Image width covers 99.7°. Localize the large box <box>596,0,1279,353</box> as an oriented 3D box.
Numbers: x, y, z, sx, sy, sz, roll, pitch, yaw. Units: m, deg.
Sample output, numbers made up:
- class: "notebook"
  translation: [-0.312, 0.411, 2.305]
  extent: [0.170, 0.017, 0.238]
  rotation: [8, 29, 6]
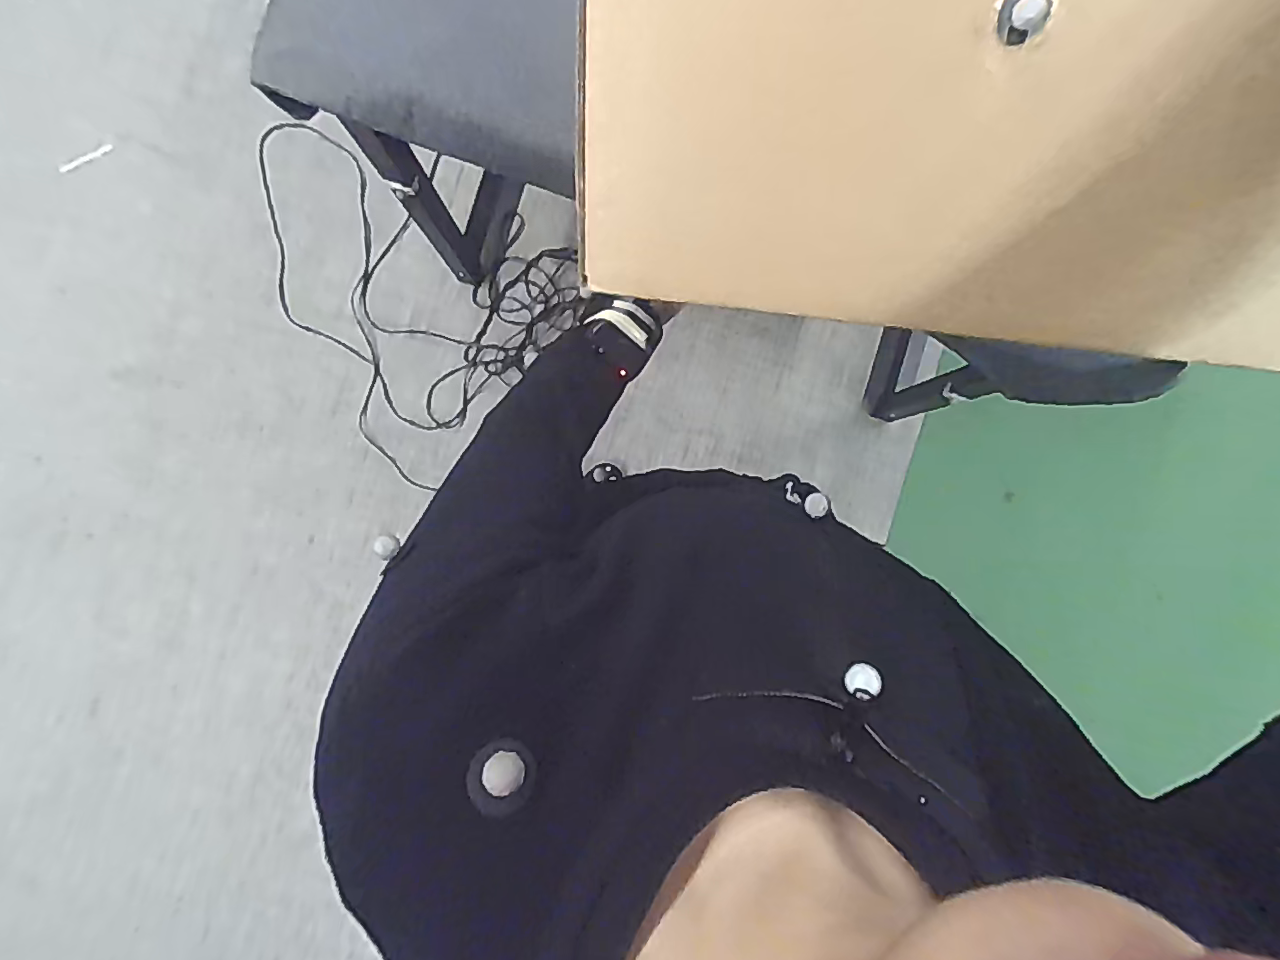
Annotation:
- class: "large box"
  translation: [0.199, -0.296, 0.374]
  extent: [0.408, 0.320, 0.320]
  rotation: [7, 121, 7]
